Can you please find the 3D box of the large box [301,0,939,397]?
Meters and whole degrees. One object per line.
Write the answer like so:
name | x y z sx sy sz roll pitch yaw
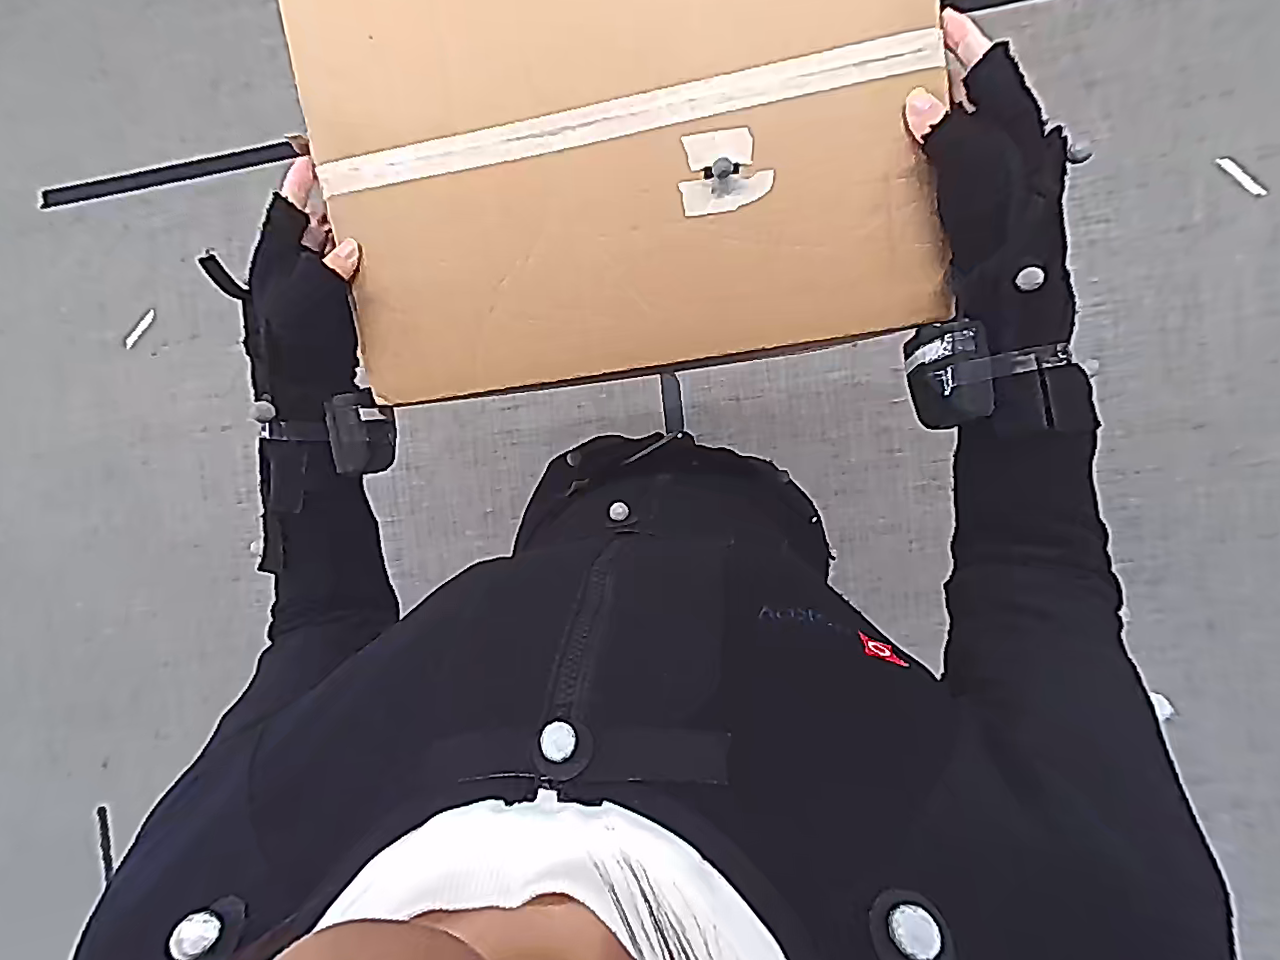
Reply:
large box | -0.005 -0.266 0.508 0.408 0.320 0.320 -8 101 6
